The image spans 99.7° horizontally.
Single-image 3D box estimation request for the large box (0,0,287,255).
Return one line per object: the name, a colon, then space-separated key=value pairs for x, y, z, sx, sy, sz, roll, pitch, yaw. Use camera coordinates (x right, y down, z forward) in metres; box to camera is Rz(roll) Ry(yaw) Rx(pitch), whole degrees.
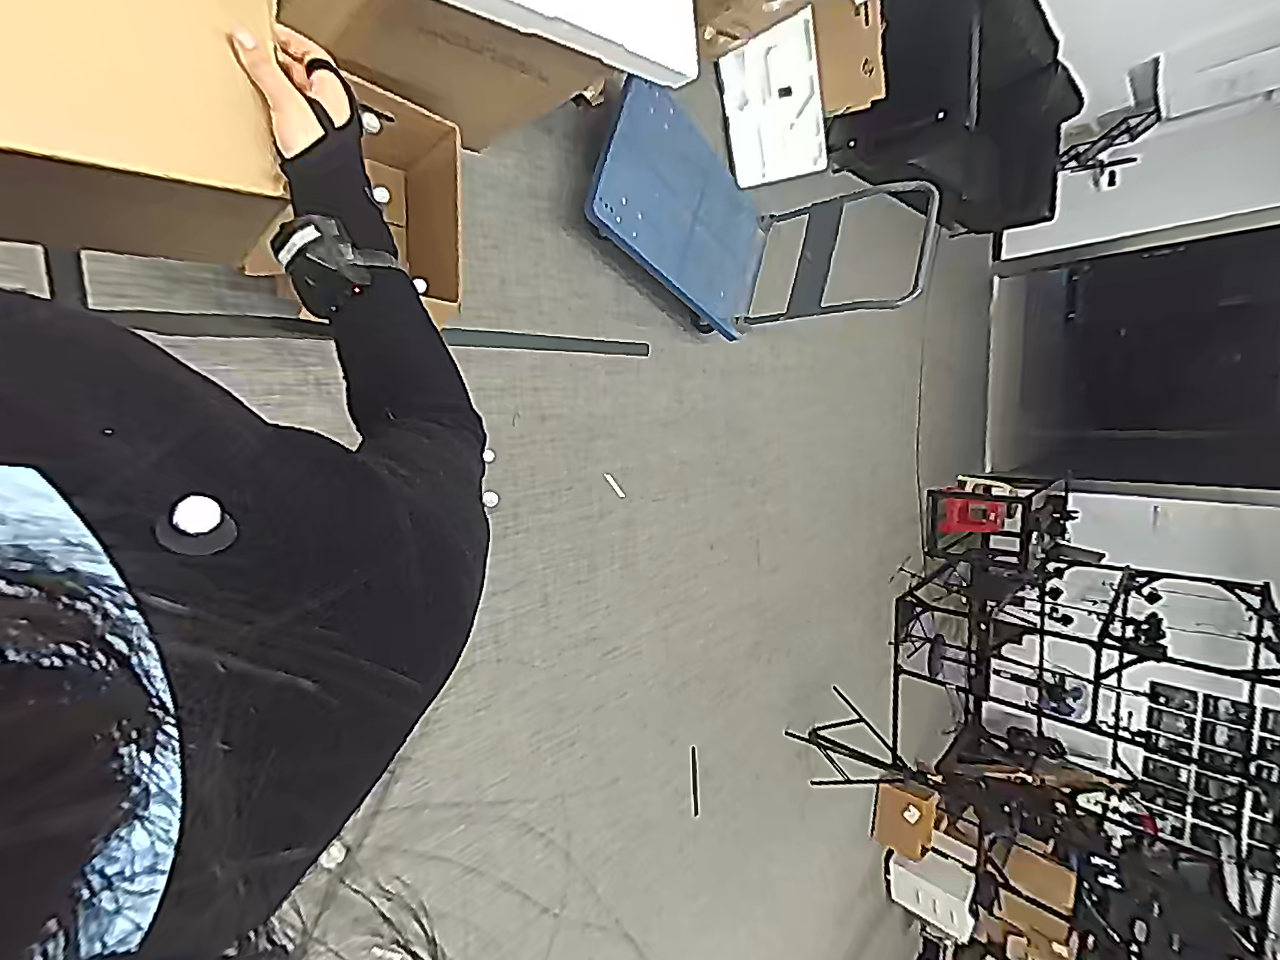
large box: x=-0.540 y=-0.374 z=0.401 sx=0.408 sy=0.320 sz=0.320 roll=-10 pitch=102 yaw=-41
